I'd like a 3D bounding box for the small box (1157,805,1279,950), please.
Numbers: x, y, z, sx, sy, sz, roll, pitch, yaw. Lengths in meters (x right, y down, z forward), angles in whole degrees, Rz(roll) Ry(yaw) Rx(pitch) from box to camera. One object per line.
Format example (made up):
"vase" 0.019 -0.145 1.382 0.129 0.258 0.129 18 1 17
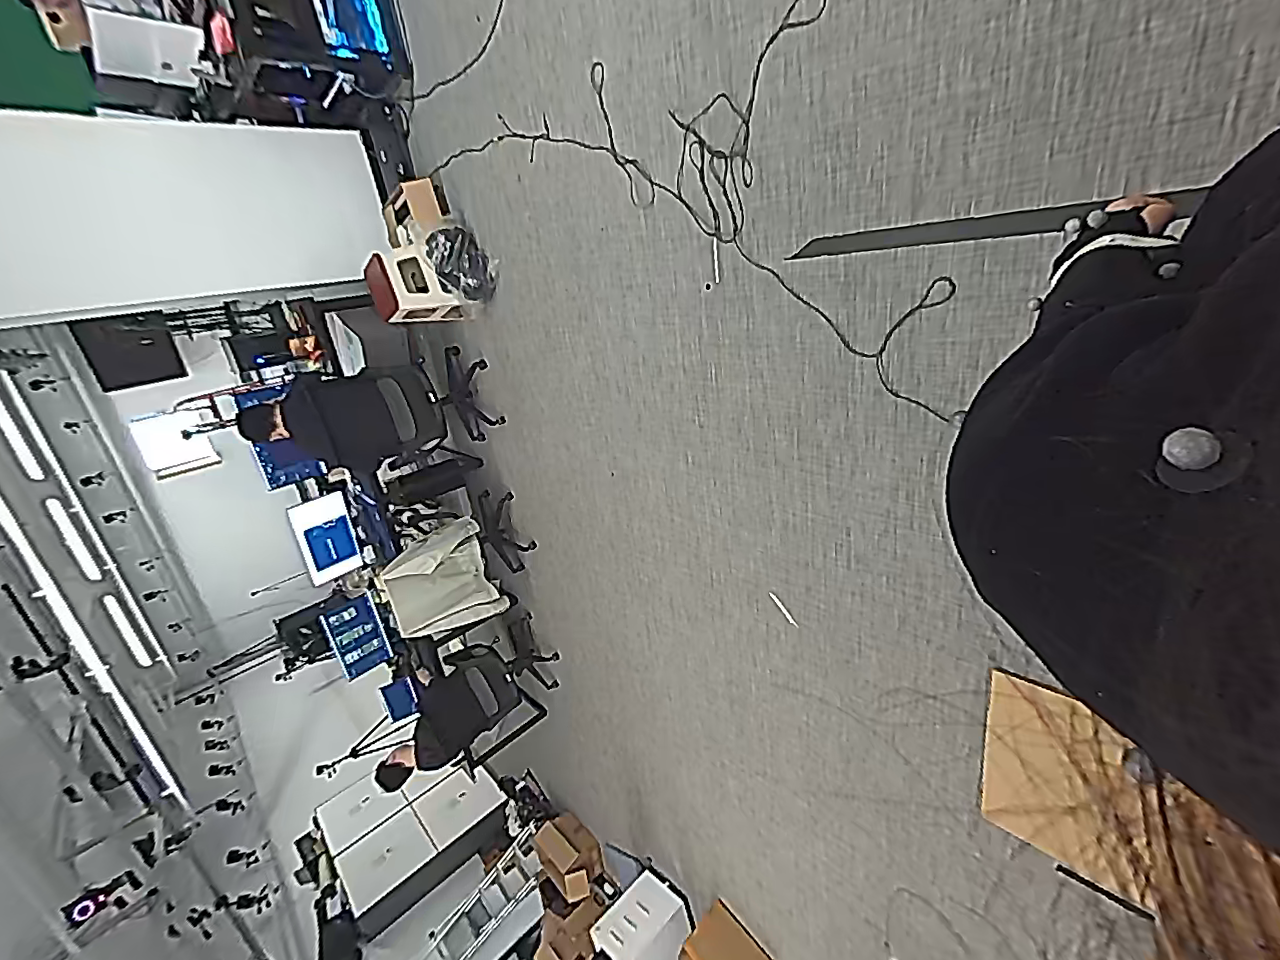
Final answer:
"small box" 1.350 0.913 1.260 0.168 0.176 0.179 19 125 46

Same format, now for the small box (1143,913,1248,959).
"small box" 1.107 1.030 1.069 0.168 0.176 0.179 16 121 46
